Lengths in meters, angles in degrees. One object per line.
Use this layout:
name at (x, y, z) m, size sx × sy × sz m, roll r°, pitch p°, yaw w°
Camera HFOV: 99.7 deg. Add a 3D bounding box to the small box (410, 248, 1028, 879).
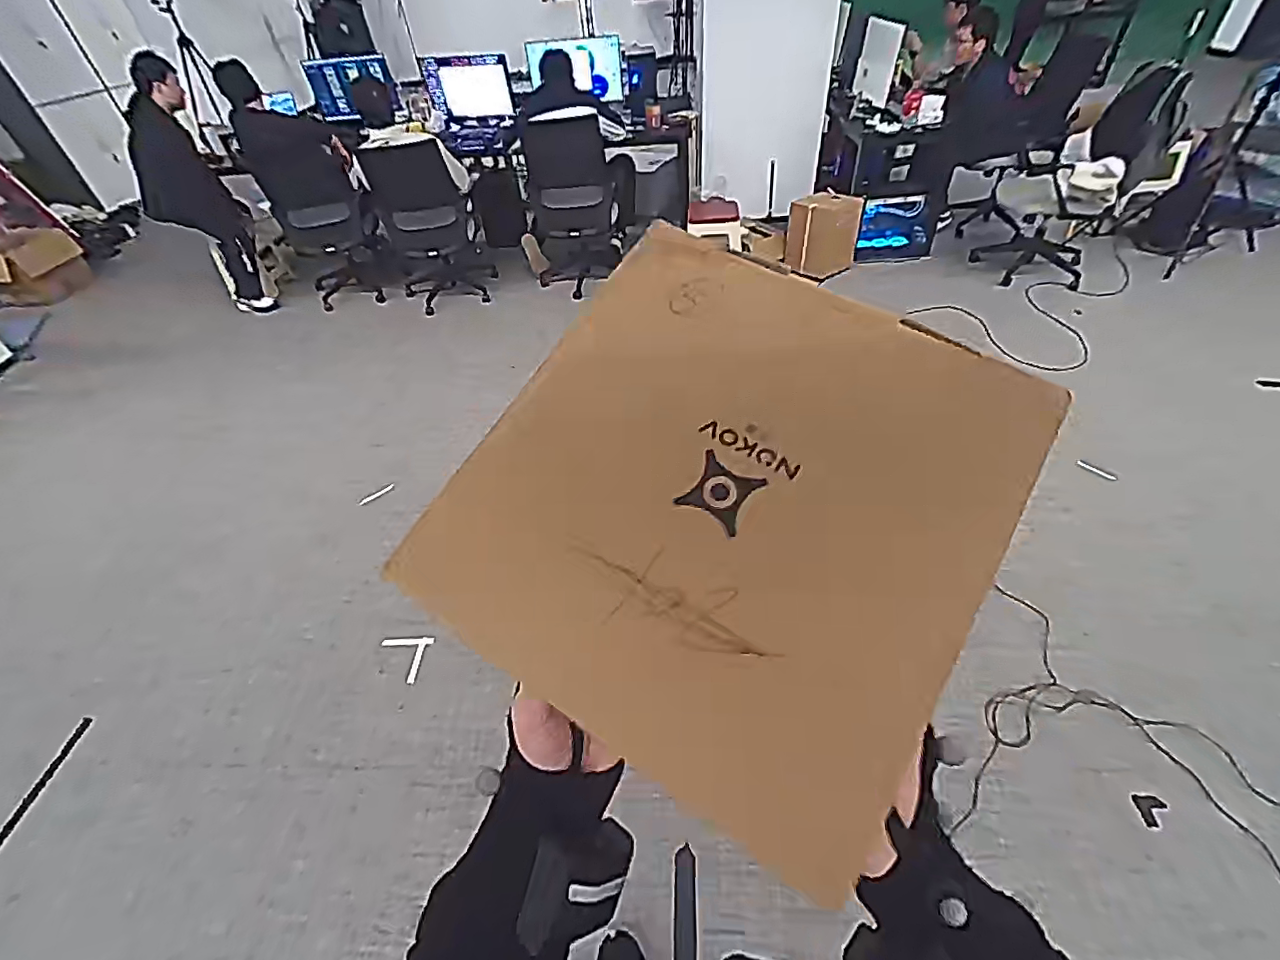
small box at (0.035, 0.033, 0.268) m, size 0.168 × 0.176 × 0.179 m, roll 29°, pitch 75°, yaw 15°
